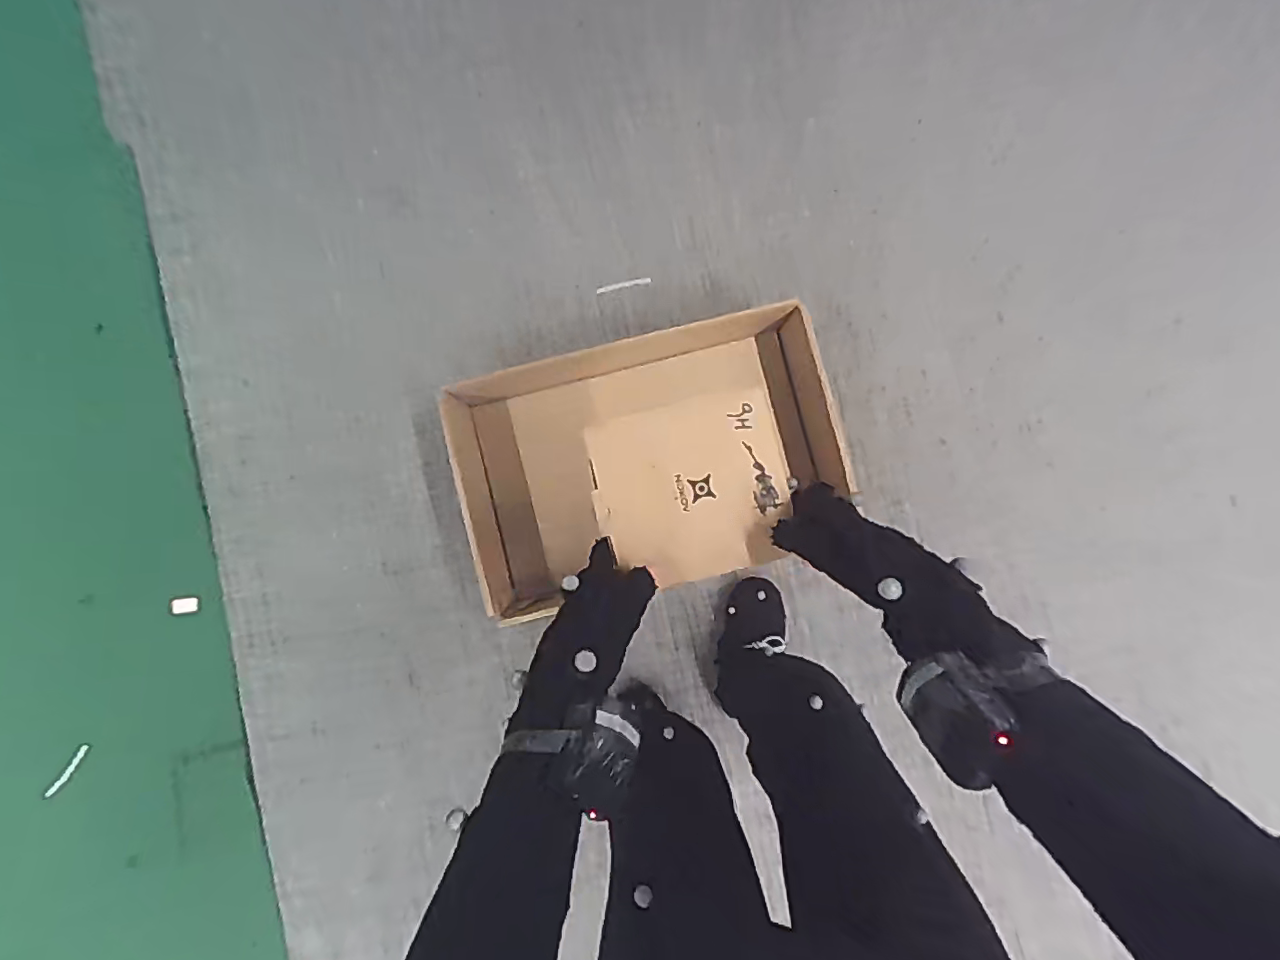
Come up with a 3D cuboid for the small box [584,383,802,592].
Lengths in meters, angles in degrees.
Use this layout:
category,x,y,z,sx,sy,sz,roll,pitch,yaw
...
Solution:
category,x,y,z,sx,sy,sz,roll,pitch,yaw
small box,0.052,0.011,0.597,0.179,0.176,0.168,-17,88,0
